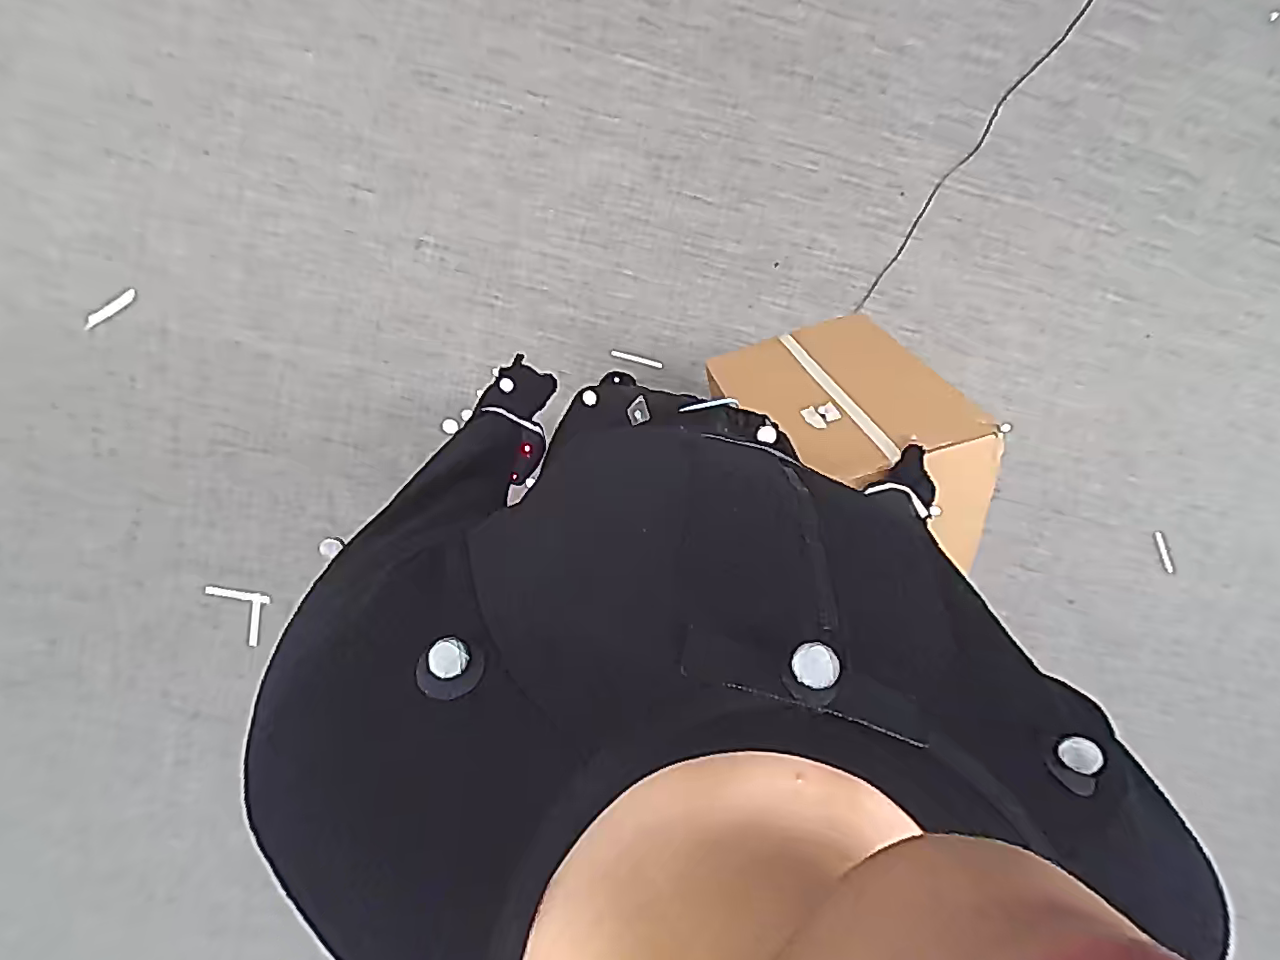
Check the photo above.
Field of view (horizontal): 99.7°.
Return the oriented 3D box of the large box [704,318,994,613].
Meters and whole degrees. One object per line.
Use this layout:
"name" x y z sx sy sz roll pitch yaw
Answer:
"large box" 0.335 -0.037 0.988 0.320 0.408 0.320 -17 132 1
